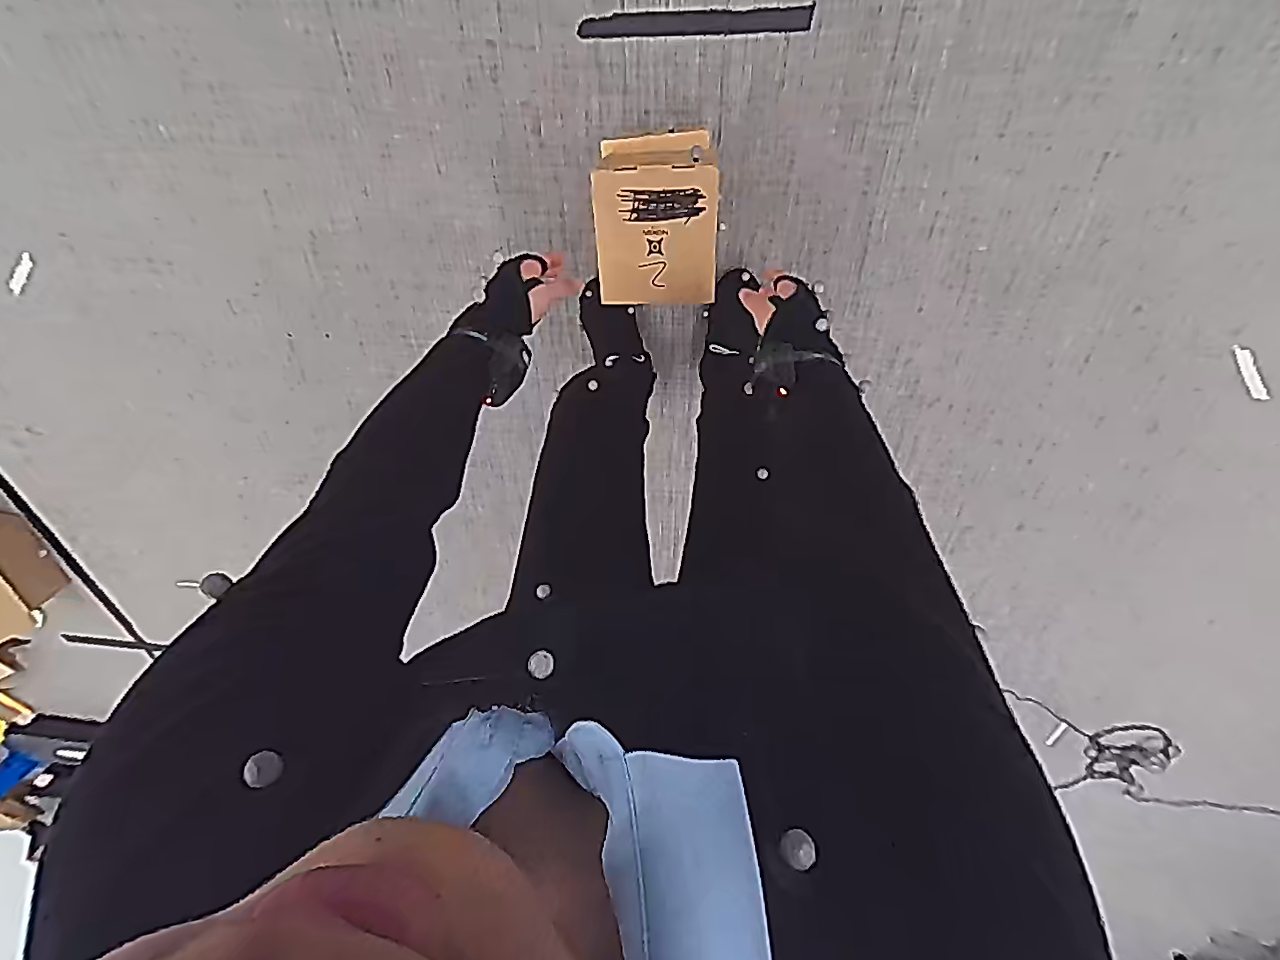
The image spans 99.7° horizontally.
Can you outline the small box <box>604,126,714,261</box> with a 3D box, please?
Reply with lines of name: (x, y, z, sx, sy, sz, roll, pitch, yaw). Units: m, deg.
small box: (0.039, -0.483, 0.904, 0.168, 0.176, 0.179, -1, 126, 8)
